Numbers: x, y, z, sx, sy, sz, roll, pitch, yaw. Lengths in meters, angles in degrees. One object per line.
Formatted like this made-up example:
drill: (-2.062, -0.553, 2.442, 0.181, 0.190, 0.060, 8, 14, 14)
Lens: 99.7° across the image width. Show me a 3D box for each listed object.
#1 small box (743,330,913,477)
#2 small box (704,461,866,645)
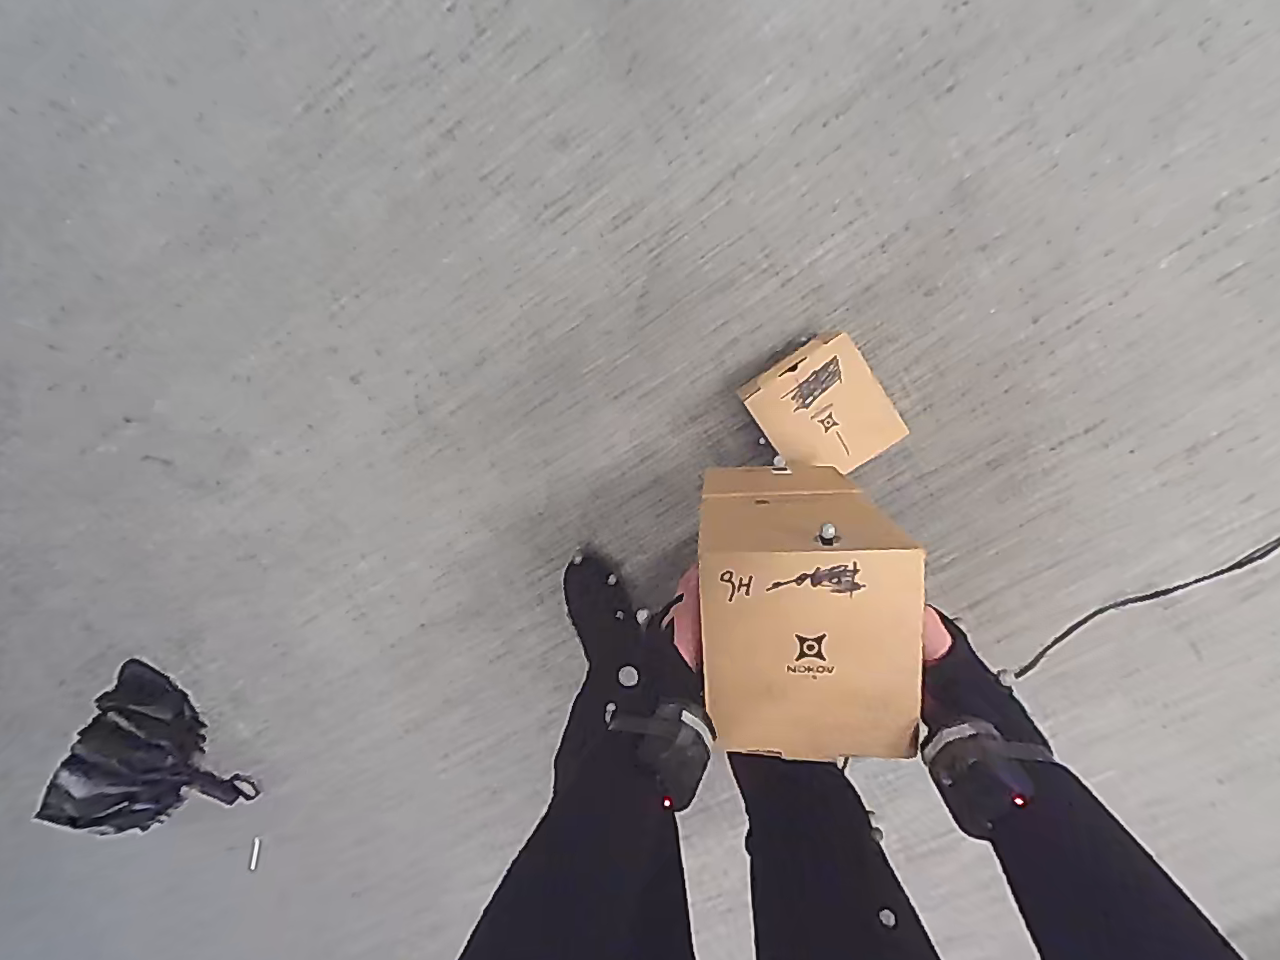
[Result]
small box: (0.272, -0.108, 0.829, 0.168, 0.176, 0.179, -34, 98, 14)
small box: (0.166, 0.079, 0.652, 0.168, 0.176, 0.179, -3, 100, 9)
